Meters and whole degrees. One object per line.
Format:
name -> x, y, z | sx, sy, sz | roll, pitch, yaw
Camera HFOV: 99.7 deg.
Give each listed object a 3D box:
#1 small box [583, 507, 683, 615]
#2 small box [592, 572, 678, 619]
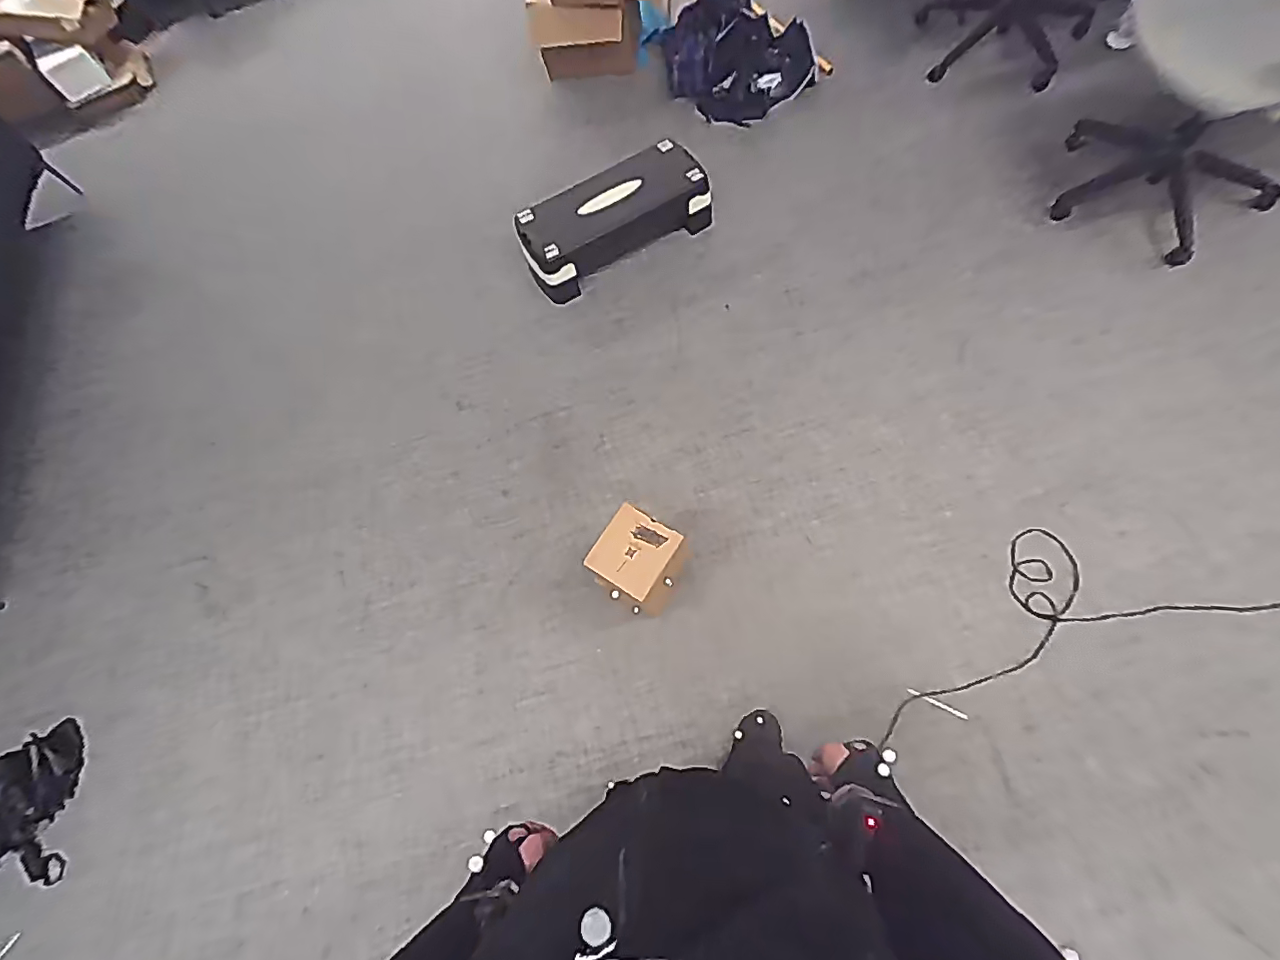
small box -> -0.009, 0.198, 1.292 | 0.168, 0.176, 0.179 | 30, 75, 19
small box -> -0.003, 0.254, 1.447 | 0.168, 0.176, 0.179 | 22, 70, 16
